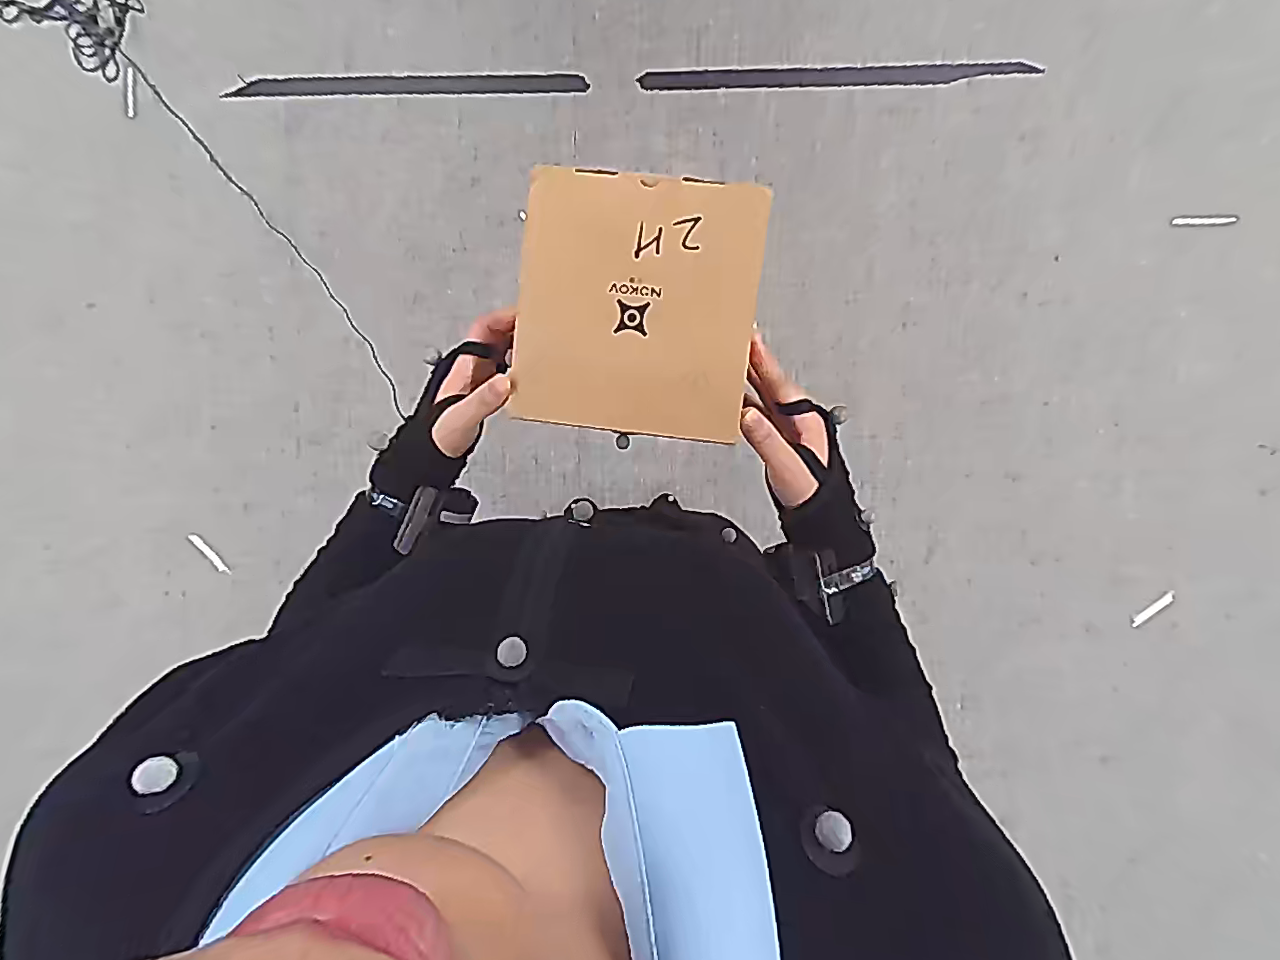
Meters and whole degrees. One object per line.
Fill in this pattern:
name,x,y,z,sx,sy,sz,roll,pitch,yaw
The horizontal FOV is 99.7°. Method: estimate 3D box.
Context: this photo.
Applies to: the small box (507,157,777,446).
small box,0.004,-0.126,0.442,0.168,0.176,0.179,8,95,2
